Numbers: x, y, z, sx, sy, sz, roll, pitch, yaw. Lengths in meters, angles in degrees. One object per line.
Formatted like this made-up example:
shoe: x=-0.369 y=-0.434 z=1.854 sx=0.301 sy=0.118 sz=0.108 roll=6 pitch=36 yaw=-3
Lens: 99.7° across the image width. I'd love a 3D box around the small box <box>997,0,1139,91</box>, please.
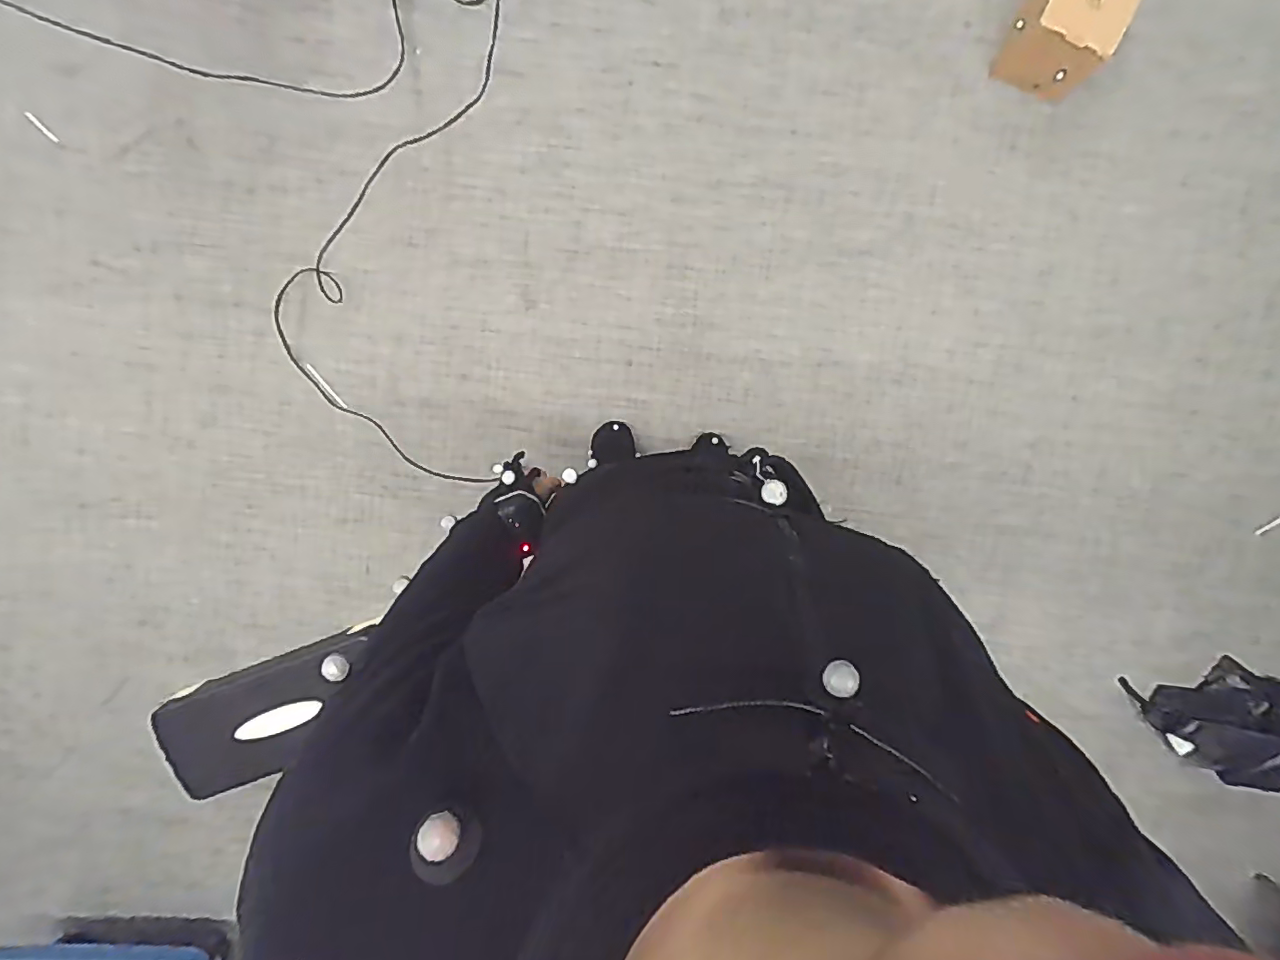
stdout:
small box: x=0.900 y=-0.974 z=1.136 sx=0.168 sy=0.176 sz=0.179 roll=23 pitch=97 yaw=-3
